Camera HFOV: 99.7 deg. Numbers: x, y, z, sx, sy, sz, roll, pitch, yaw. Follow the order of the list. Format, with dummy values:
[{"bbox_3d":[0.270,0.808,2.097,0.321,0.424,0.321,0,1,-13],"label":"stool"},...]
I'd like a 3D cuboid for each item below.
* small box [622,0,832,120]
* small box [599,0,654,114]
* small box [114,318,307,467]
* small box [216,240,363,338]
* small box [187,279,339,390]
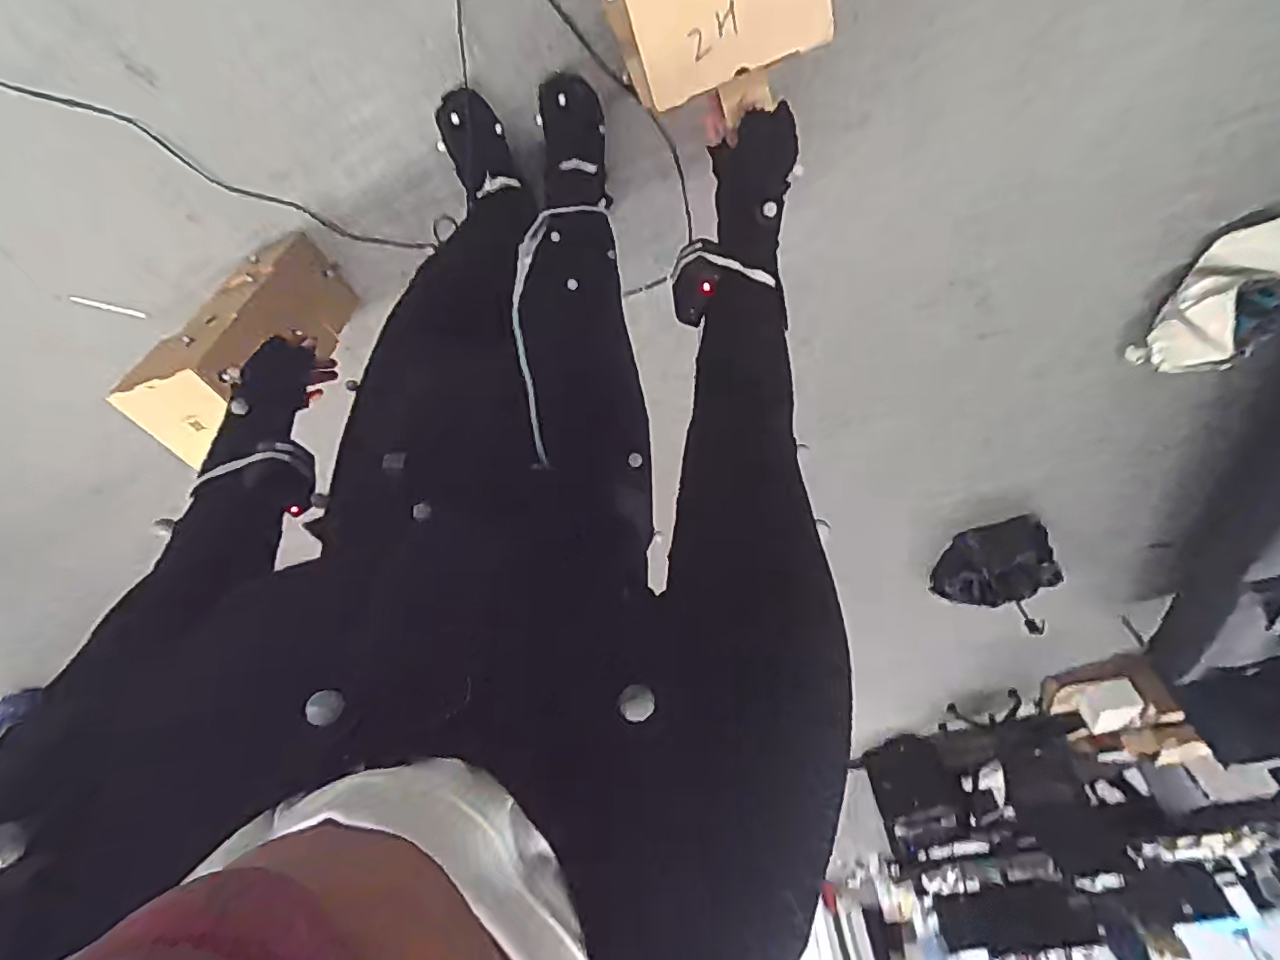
[{"bbox_3d":[0.065,-0.468,0.503,0.168,0.176,0.179,-15,127,12],"label":"small box"},{"bbox_3d":[0.040,-0.755,0.892,0.168,0.176,0.179,-21,134,15],"label":"small box"},{"bbox_3d":[-0.739,-0.154,0.957,0.168,0.176,0.179,-14,135,9],"label":"small box"},{"bbox_3d":[-0.752,-0.396,1.180,0.168,0.176,0.179,-18,133,16],"label":"small box"},{"bbox_3d":[-0.742,-0.272,1.069,0.168,0.176,0.179,-17,136,12],"label":"small box"}]
